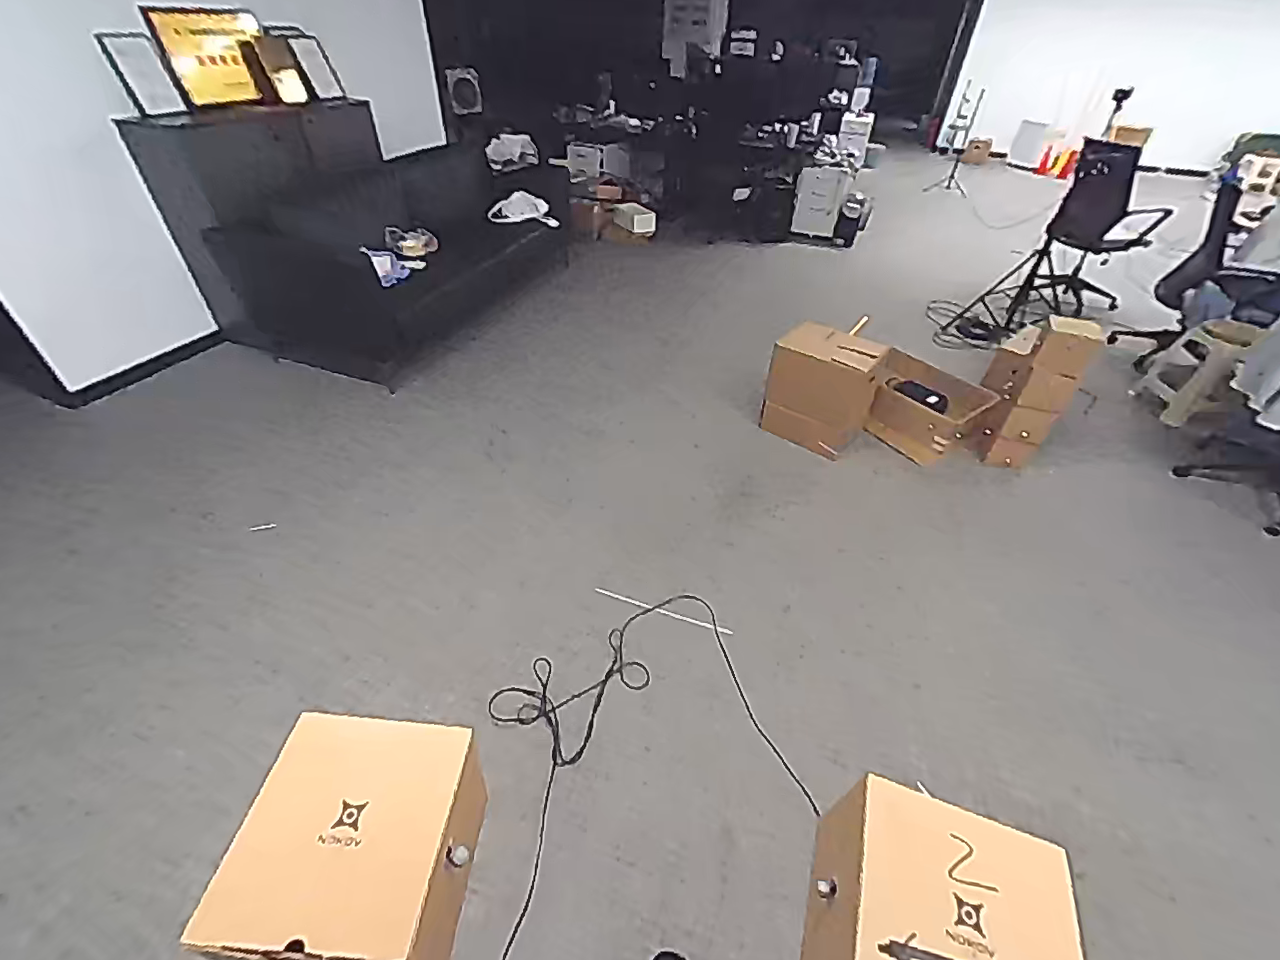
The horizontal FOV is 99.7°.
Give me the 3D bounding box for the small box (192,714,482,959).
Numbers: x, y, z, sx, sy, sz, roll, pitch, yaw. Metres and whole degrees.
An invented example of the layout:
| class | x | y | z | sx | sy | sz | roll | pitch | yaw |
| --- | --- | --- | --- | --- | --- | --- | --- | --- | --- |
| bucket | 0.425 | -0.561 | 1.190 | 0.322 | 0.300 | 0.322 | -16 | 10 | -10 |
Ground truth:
| class | x | y | z | sx | sy | sz | roll | pitch | yaw |
| --- | --- | --- | --- | --- | --- | --- | --- | --- | --- |
| small box | -0.255 | 0.354 | 0.514 | 0.168 | 0.176 | 0.179 | 6 | 41 | -1 |
